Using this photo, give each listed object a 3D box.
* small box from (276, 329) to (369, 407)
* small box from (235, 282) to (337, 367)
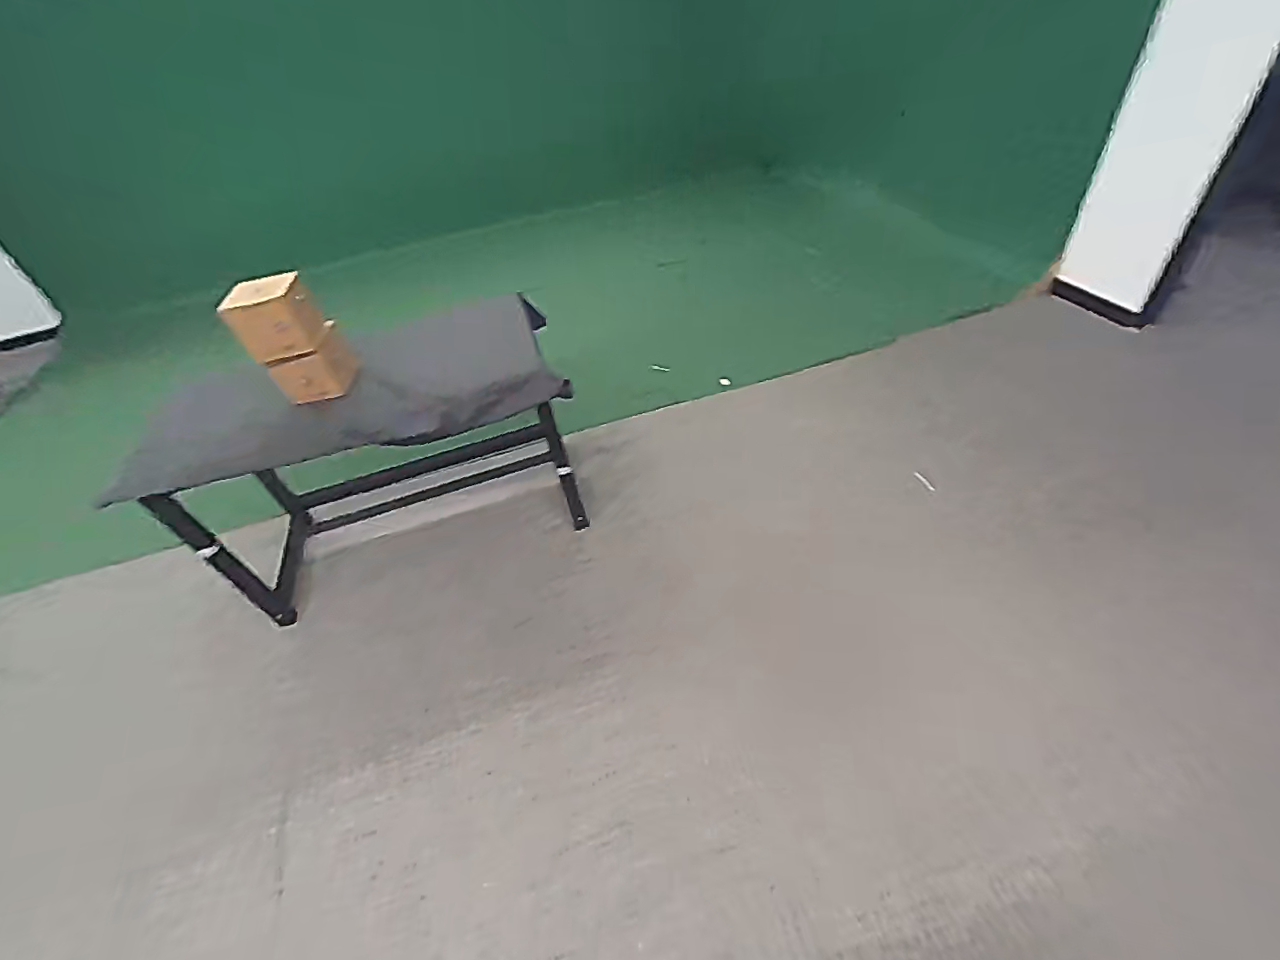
[{"bbox_3d":[-0.975,-0.341,1.681,0.168,0.176,0.179,-10,43,1],"label":"small box"},{"bbox_3d":[-1.003,-0.440,1.552,0.168,0.176,0.179,-14,42,-4],"label":"small box"}]
